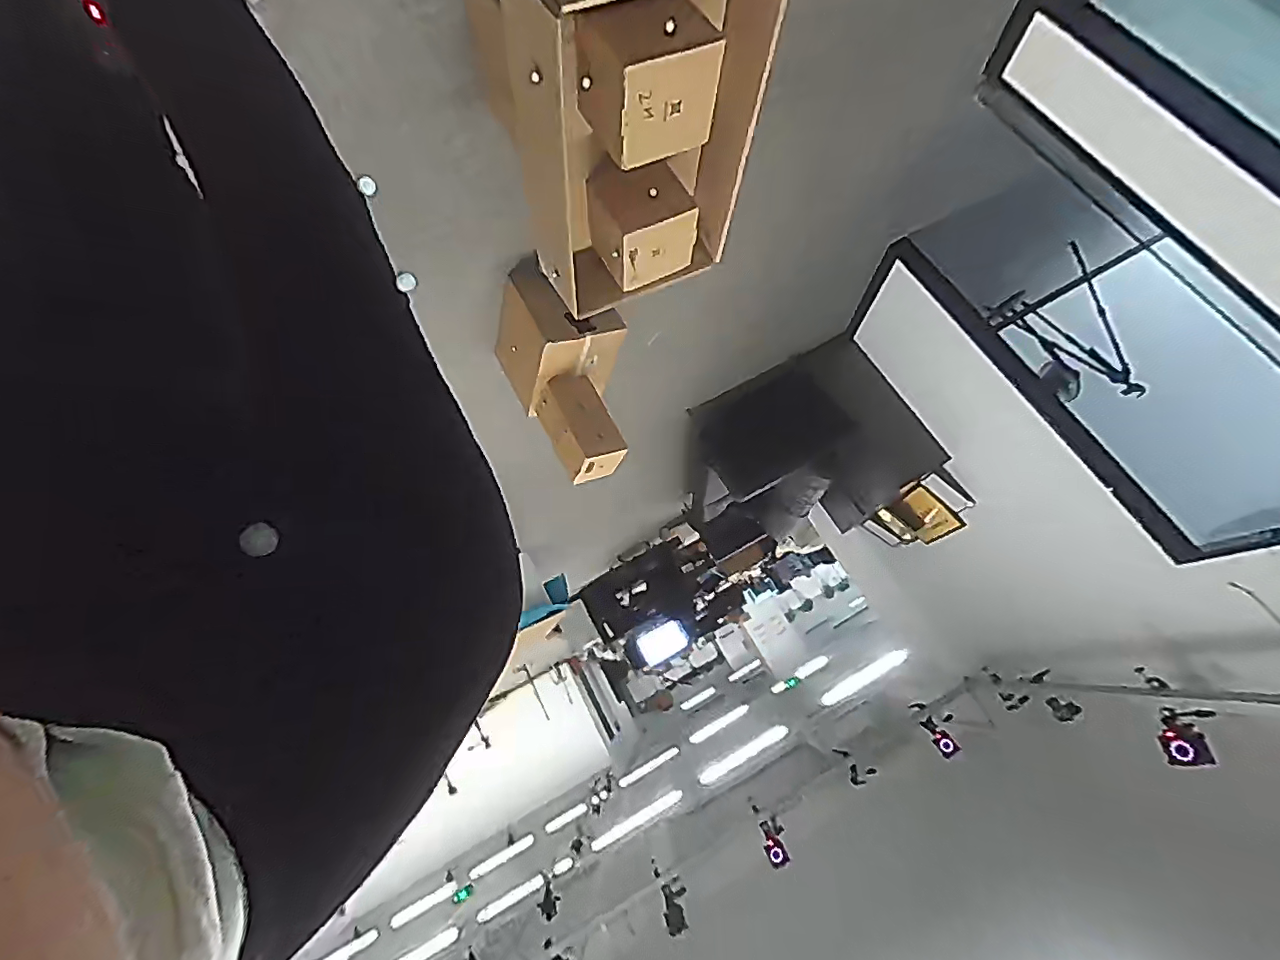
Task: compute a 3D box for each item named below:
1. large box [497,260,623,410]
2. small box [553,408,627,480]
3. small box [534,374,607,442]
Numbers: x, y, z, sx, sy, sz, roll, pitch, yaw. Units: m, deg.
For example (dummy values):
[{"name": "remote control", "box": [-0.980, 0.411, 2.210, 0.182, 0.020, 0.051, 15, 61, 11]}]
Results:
[{"name": "large box", "box": [-0.309, -0.520, 1.963, 0.320, 0.320, 0.408, -21, 160, -29]}, {"name": "small box", "box": [-0.180, -0.129, 1.886, 0.179, 0.176, 0.168, -17, 158, -35]}, {"name": "small box", "box": [-0.253, -0.264, 1.943, 0.179, 0.176, 0.168, -16, 157, -35]}]
